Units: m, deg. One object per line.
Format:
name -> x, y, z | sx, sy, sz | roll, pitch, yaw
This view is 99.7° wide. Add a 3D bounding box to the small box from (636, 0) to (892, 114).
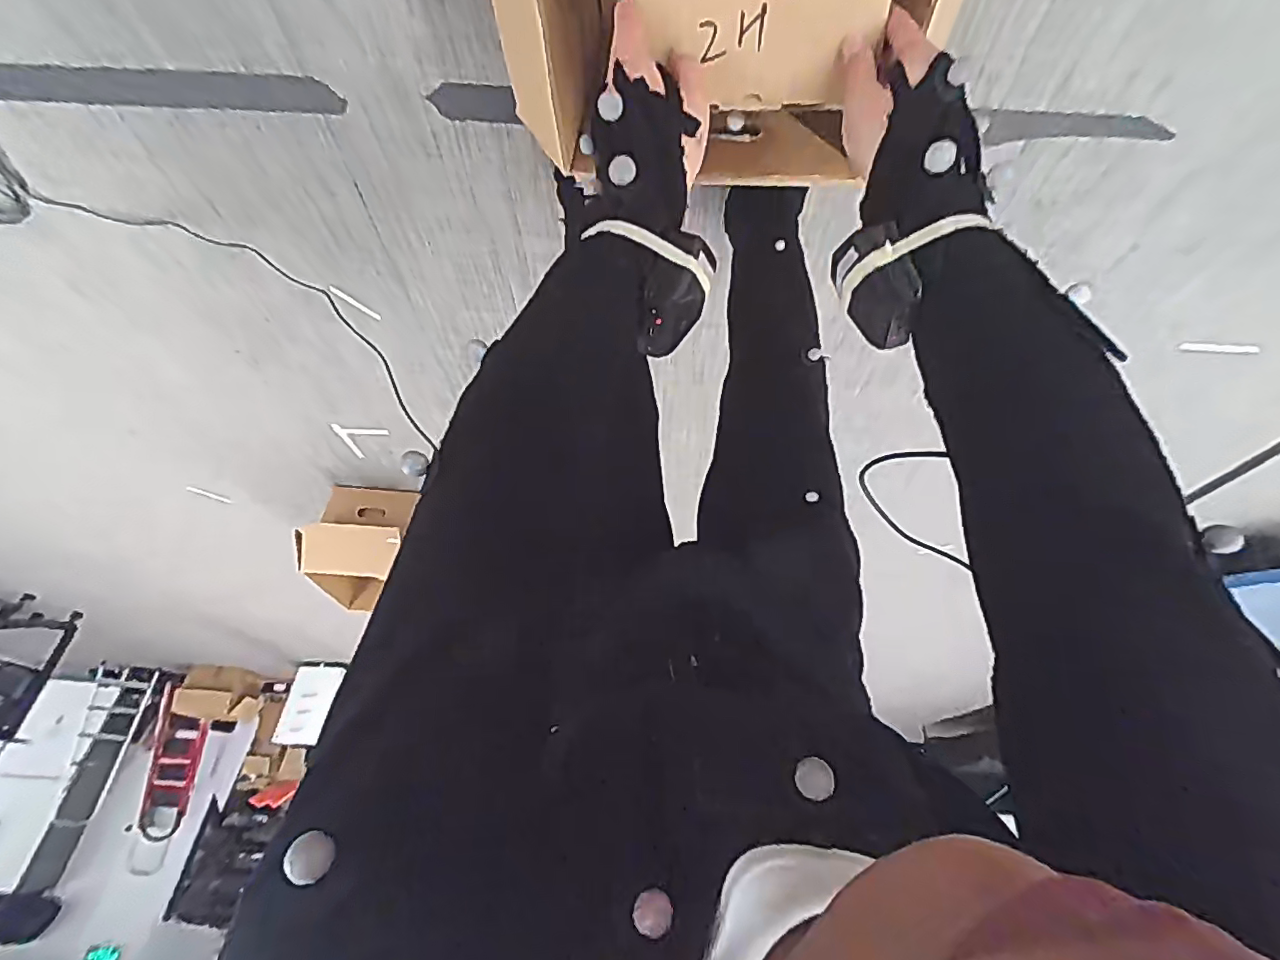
small box -> 0.084, -0.376, 0.396 | 0.168, 0.176, 0.179 | 2, 124, 3
